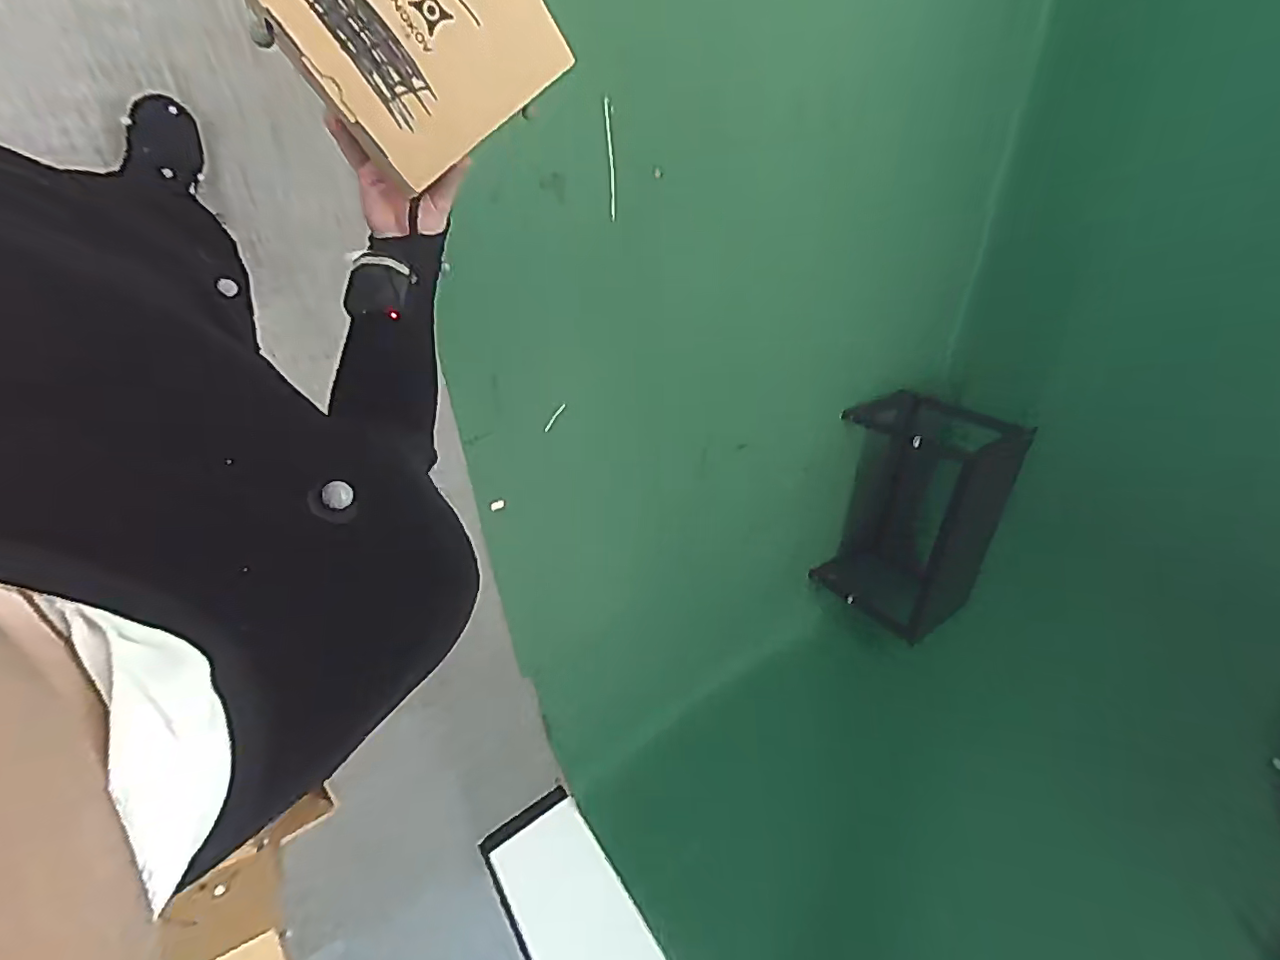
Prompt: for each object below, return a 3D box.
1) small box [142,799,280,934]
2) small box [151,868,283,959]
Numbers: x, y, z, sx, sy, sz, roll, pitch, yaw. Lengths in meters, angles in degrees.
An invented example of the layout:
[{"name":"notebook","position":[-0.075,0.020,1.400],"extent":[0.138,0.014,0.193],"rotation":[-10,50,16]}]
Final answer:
[{"name":"small box","position":[-0.855,0.796,1.090],"extent":[0.168,0.176,0.179],"rotation":[-22,124,-29]},{"name":"small box","position":[-0.755,0.861,0.977],"extent":[0.168,0.176,0.179],"rotation":[-13,119,-34]}]
